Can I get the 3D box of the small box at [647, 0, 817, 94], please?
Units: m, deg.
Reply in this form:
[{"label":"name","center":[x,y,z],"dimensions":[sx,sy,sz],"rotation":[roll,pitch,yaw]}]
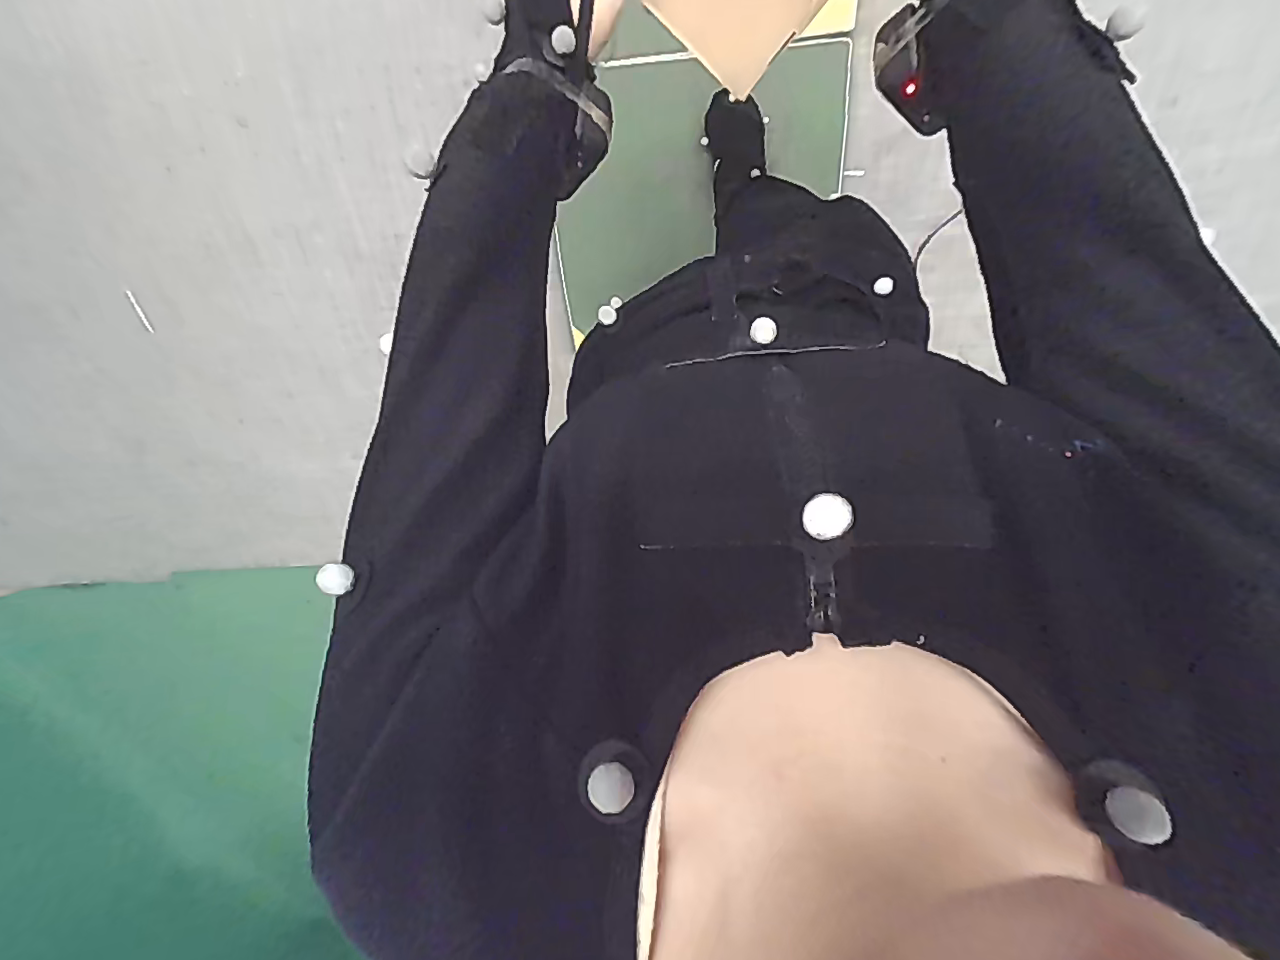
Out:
[{"label":"small box","center":[0.068,-0.465,0.425],"dimensions":[0.179,0.176,0.168],"rotation":[26,133,-28]}]
